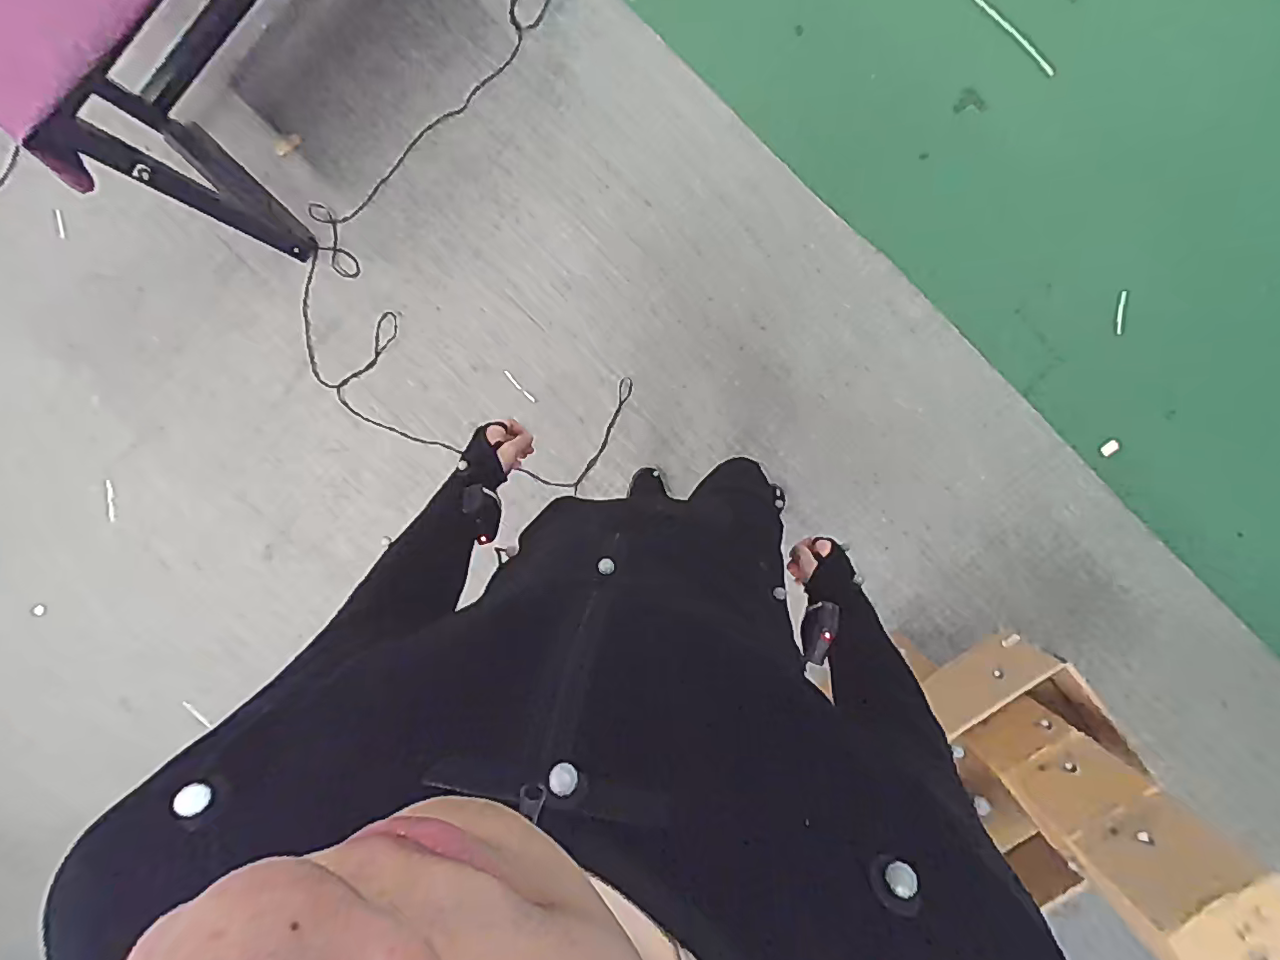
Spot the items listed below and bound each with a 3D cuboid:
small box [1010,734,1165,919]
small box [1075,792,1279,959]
[{"bbox_3d":[0.804,0.588,0.940,0.168,0.176,0.179,-36,90,6],"label":"small box"},{"bbox_3d":[0.795,0.602,0.775,0.168,0.176,0.179,-35,90,5],"label":"small box"}]
